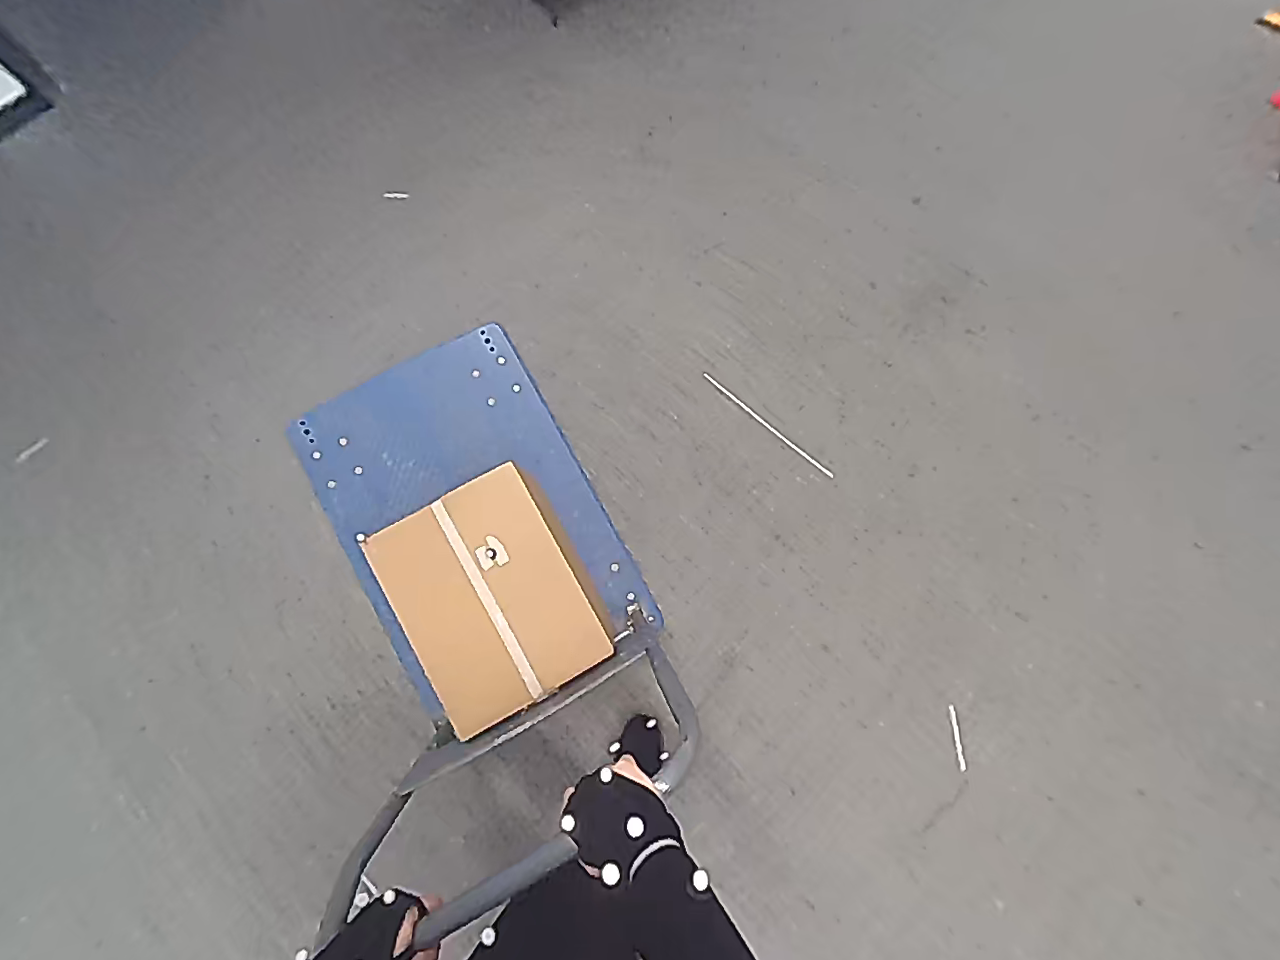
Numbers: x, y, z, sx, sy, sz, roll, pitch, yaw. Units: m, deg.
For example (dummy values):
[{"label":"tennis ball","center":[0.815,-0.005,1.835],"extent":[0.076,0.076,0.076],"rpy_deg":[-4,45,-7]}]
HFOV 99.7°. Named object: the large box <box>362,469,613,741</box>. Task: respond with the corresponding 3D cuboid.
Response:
[{"label":"large box","center":[-0.284,0.240,1.132],"extent":[0.320,0.320,0.408],"rpy_deg":[-30,85,-7]}]
